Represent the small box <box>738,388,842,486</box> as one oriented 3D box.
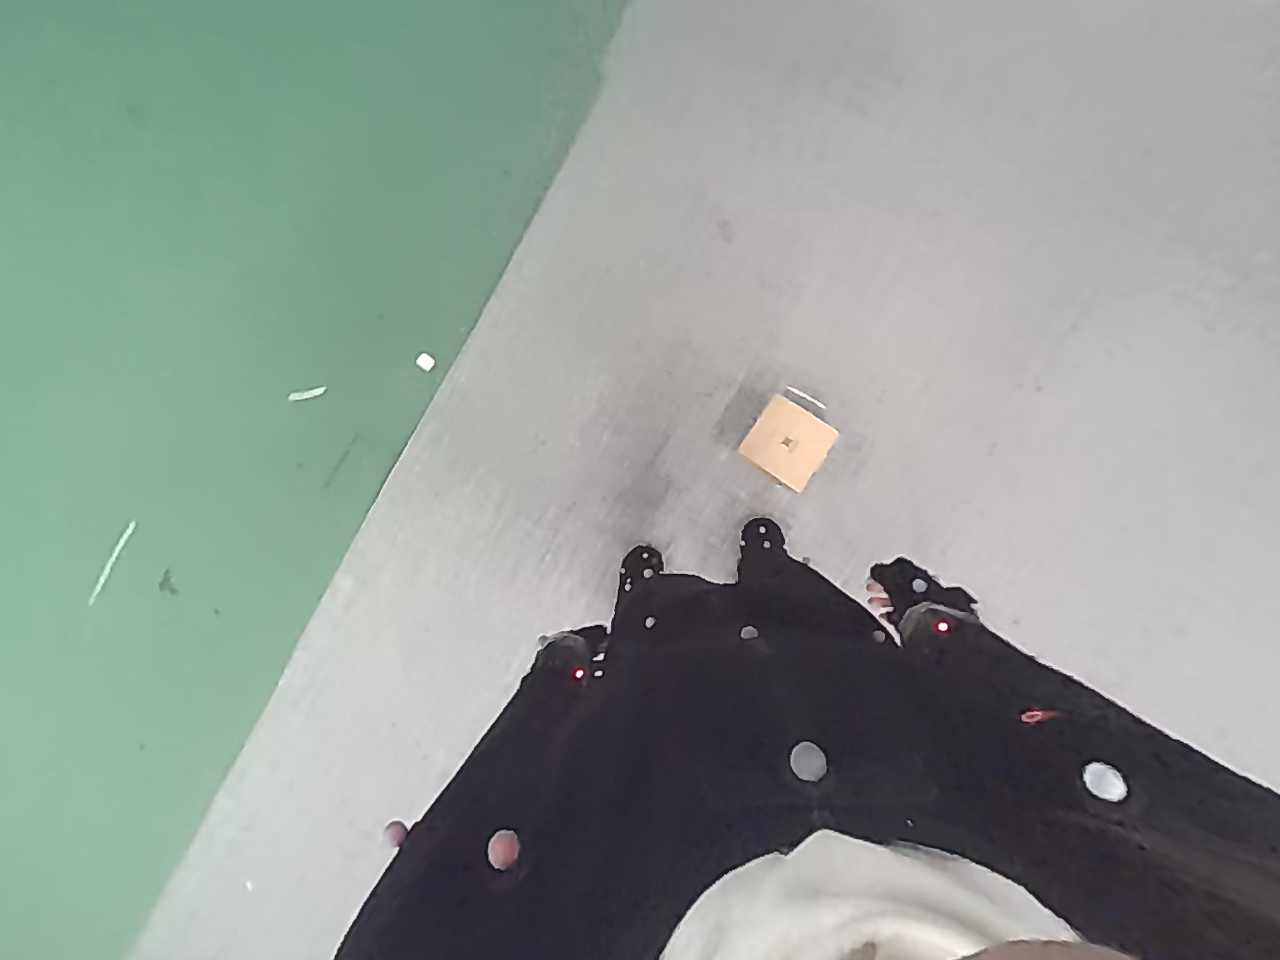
[{"bbox_3d":[0.355,-0.100,1.314,0.179,0.176,0.168,34,95,8],"label":"small box"}]
